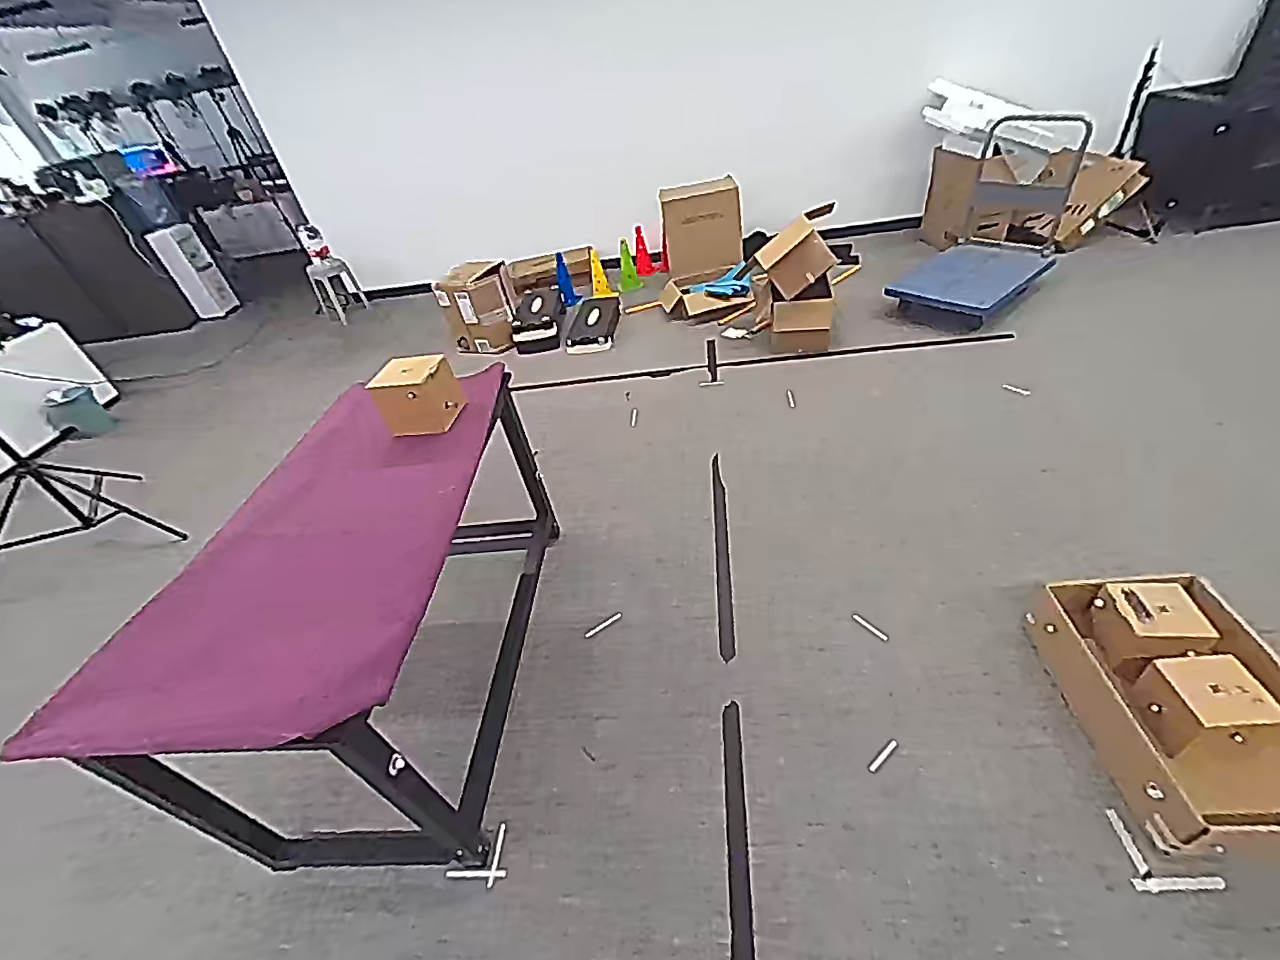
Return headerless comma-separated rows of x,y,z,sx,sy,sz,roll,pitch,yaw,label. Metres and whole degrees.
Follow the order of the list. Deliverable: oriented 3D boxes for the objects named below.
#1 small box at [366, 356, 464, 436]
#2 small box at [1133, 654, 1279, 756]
-0.645,-0.241,1.570,0.179,0.176,0.168,-3,40,12,small box
1.316,0.530,1.268,0.179,0.176,0.168,-6,40,7,small box
